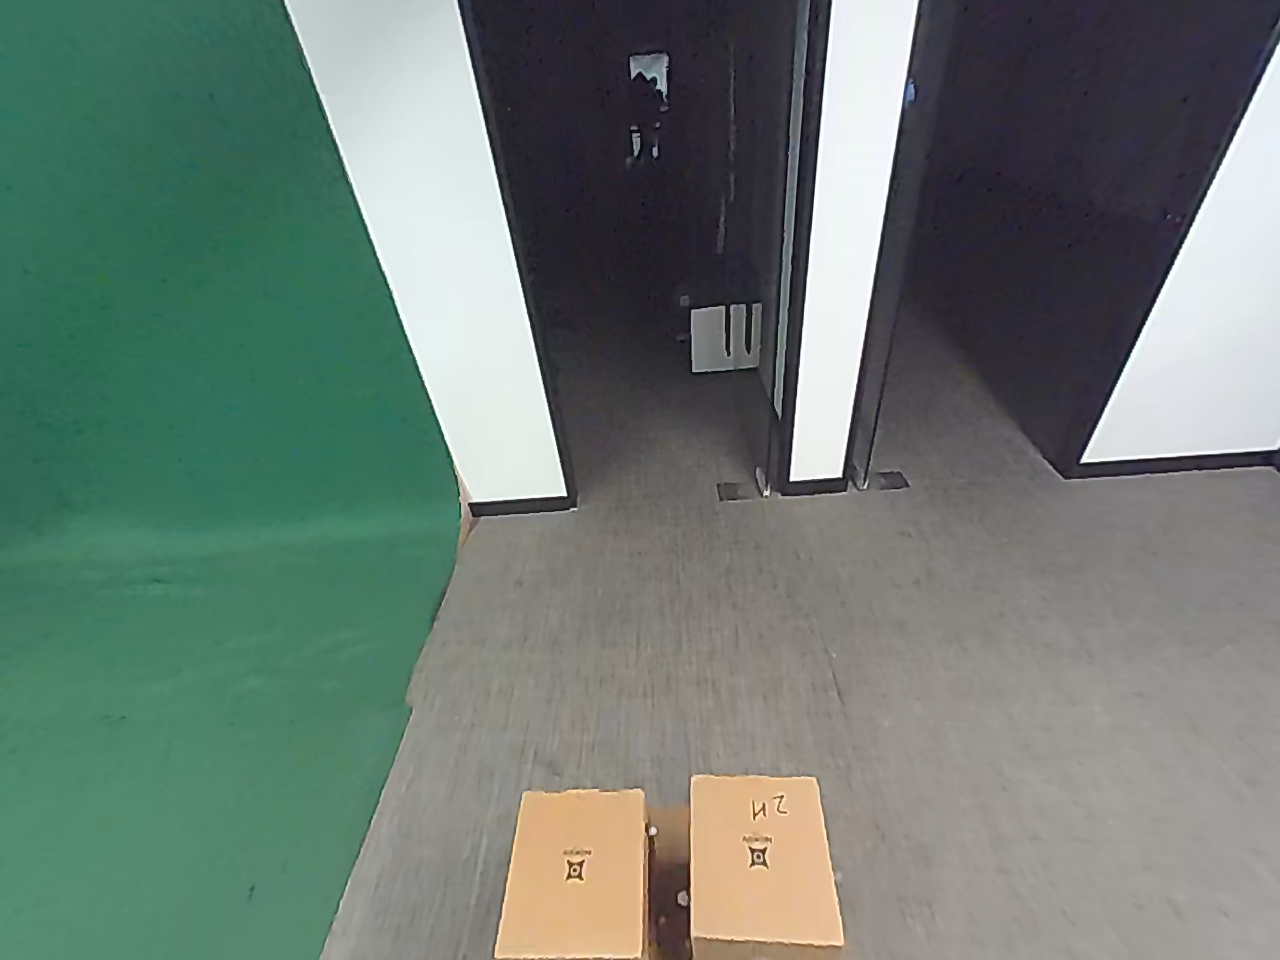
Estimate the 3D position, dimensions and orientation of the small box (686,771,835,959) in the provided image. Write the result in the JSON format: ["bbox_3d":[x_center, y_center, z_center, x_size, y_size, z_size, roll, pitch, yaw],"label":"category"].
[{"bbox_3d":[0.151,0.510,0.707,0.168,0.176,0.179,-2,38,8],"label":"small box"}]

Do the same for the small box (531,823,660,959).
[{"bbox_3d":[-0.058,0.654,0.828,0.168,0.176,0.179,-2,39,4],"label":"small box"}]
